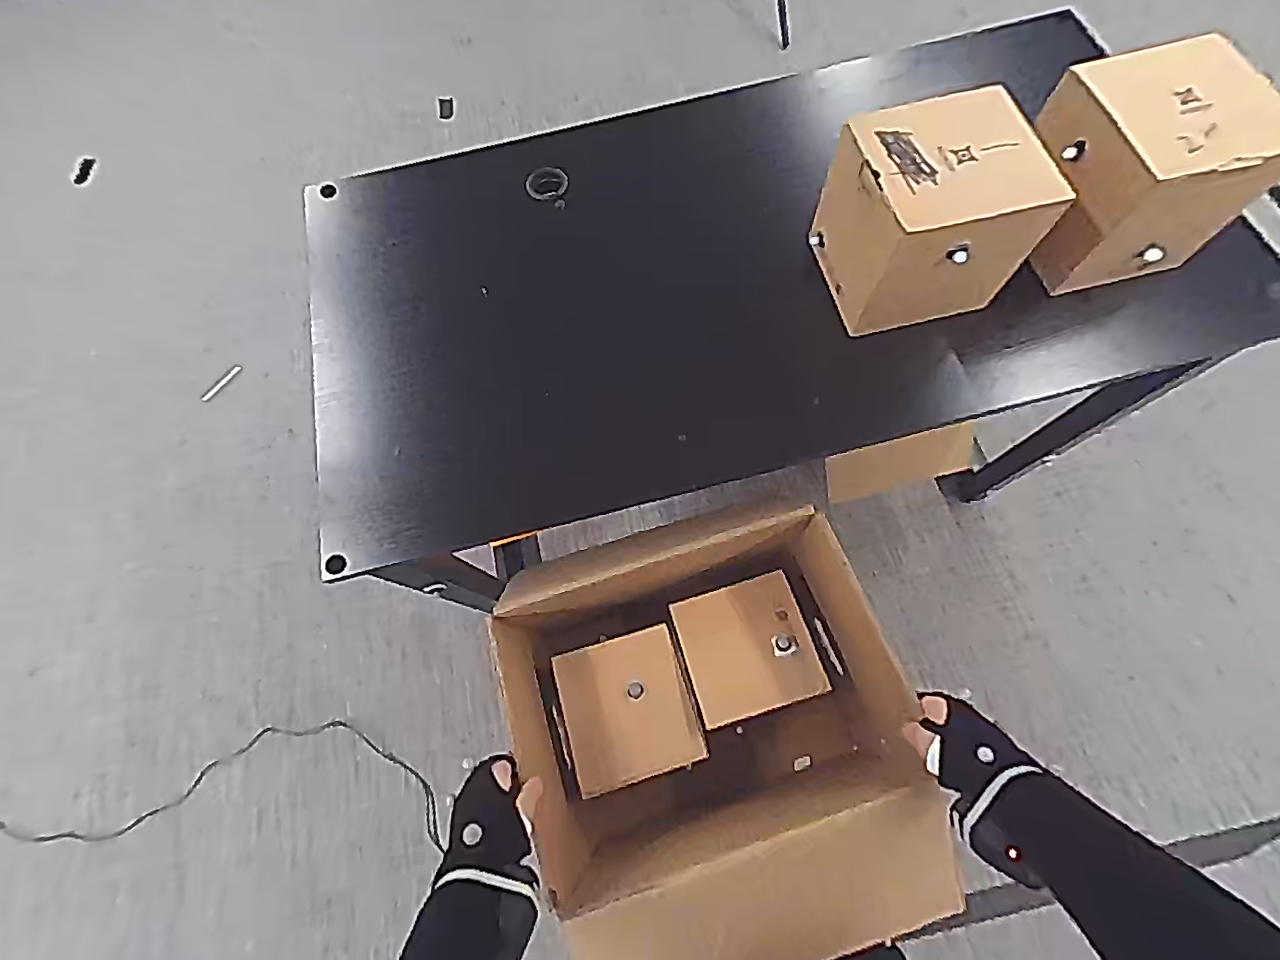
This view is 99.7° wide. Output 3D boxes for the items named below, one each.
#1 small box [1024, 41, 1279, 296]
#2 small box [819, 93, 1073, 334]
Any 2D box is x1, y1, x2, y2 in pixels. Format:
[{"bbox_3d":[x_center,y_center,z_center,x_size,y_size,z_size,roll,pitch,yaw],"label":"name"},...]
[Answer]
[{"bbox_3d":[0.559,-0.345,0.620,0.168,0.176,0.179,-13,69,0],"label":"small box"},{"bbox_3d":[0.320,-0.290,0.617,0.179,0.176,0.168,-12,70,-2],"label":"small box"}]
